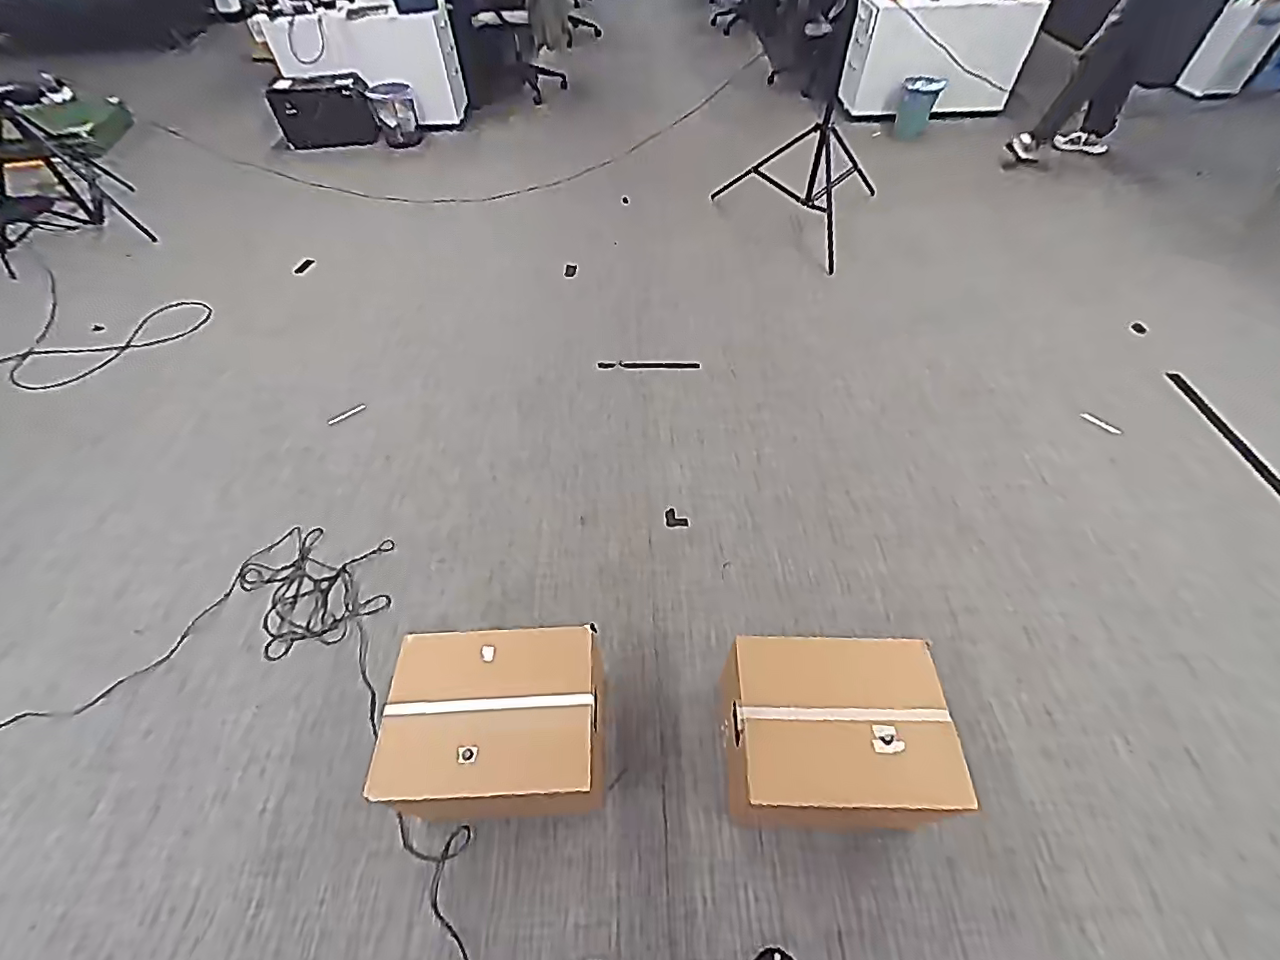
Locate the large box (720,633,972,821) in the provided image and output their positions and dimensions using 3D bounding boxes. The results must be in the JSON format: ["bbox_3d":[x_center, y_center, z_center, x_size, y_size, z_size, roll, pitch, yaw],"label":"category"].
[{"bbox_3d":[0.401,0.544,1.178,0.408,0.320,0.320,1,52,1],"label":"large box"}]
